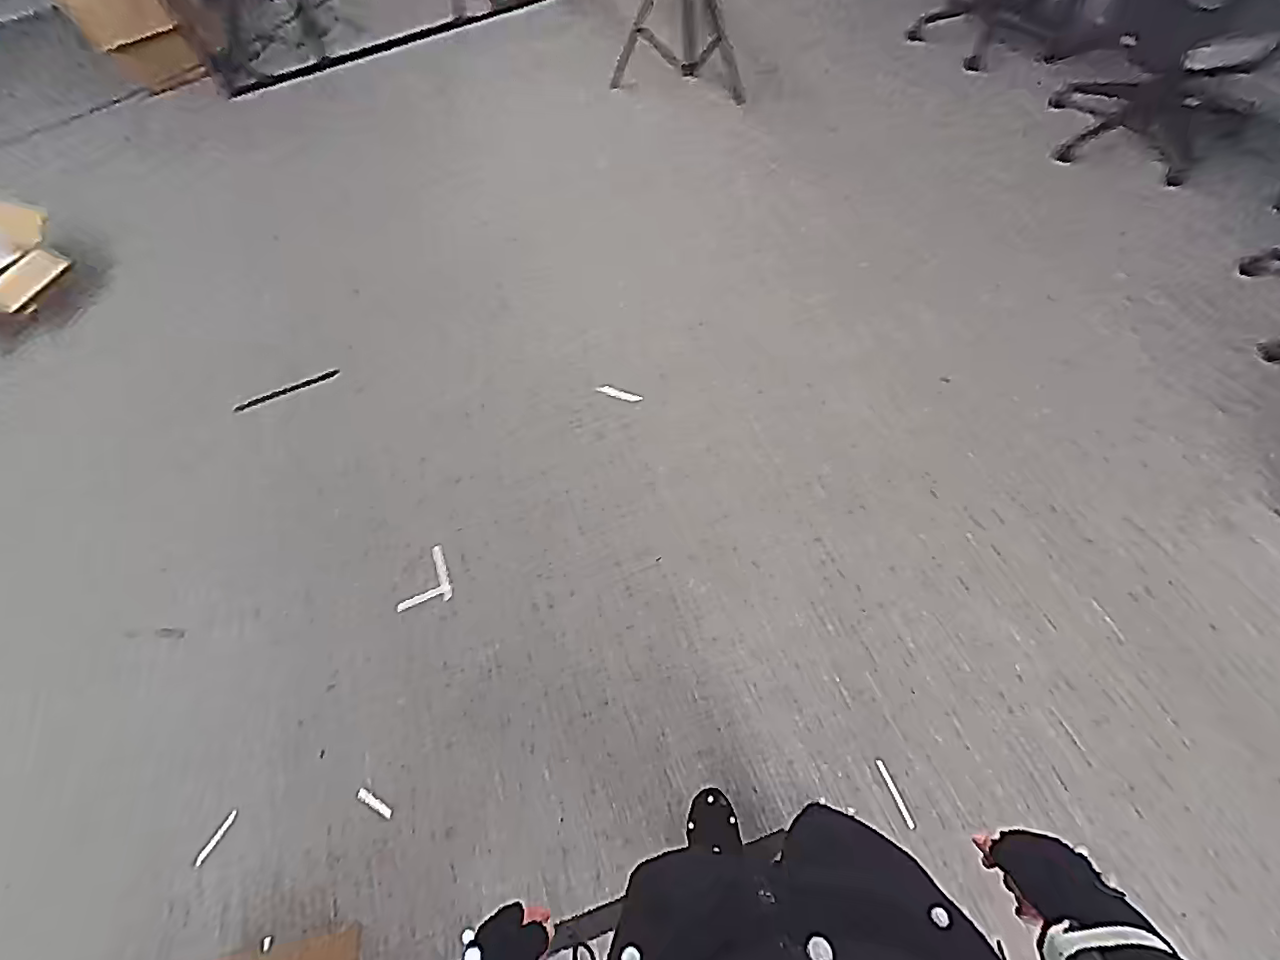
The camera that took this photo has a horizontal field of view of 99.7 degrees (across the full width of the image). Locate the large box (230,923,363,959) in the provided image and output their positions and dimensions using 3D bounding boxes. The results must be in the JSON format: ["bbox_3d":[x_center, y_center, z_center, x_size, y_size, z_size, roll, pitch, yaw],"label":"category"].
[{"bbox_3d":[-0.732,1.121,0.978,0.320,0.320,0.408,-14,61,0],"label":"large box"}]
